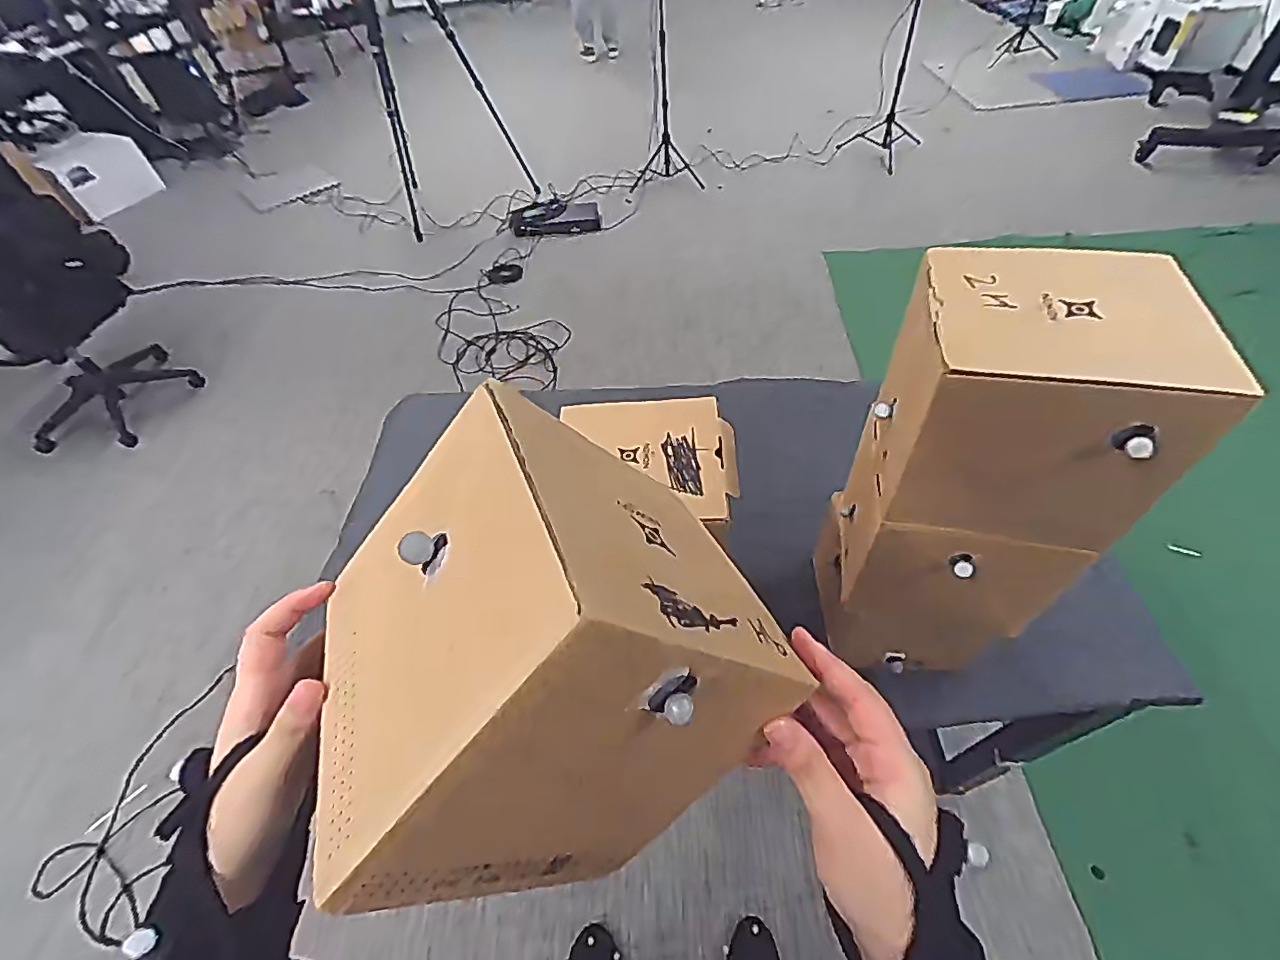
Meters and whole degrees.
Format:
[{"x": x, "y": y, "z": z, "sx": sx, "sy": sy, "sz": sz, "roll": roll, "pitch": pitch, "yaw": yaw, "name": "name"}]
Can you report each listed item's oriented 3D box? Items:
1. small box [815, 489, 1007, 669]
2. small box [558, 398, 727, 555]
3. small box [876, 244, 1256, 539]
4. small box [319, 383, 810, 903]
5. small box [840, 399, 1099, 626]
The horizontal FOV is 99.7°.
[{"x": 0.334, "y": 0.129, "z": 0.703, "sx": 0.168, "sy": 0.176, "sz": 0.179, "roll": -2, "pitch": 51, "yaw": 6, "name": "small box"}, {"x": 0.002, "y": 0.027, "z": 0.609, "sx": 0.179, "sy": 0.176, "sz": 0.168, "roll": -2, "pitch": 50, "yaw": 5, "name": "small box"}, {"x": 0.307, "y": -0.069, "z": 0.443, "sx": 0.179, "sy": 0.176, "sz": 0.168, "roll": 8, "pitch": 51, "yaw": 14, "name": "small box"}, {"x": -0.052, "y": 0.084, "z": 0.300, "sx": 0.176, "sy": 0.168, "sz": 0.179, "roll": -50, "pitch": 41, "yaw": 13, "name": "small box"}, {"x": 0.319, "y": 0.037, "z": 0.569, "sx": 0.179, "sy": 0.176, "sz": 0.168, "roll": 6, "pitch": 51, "yaw": 13, "name": "small box"}]
